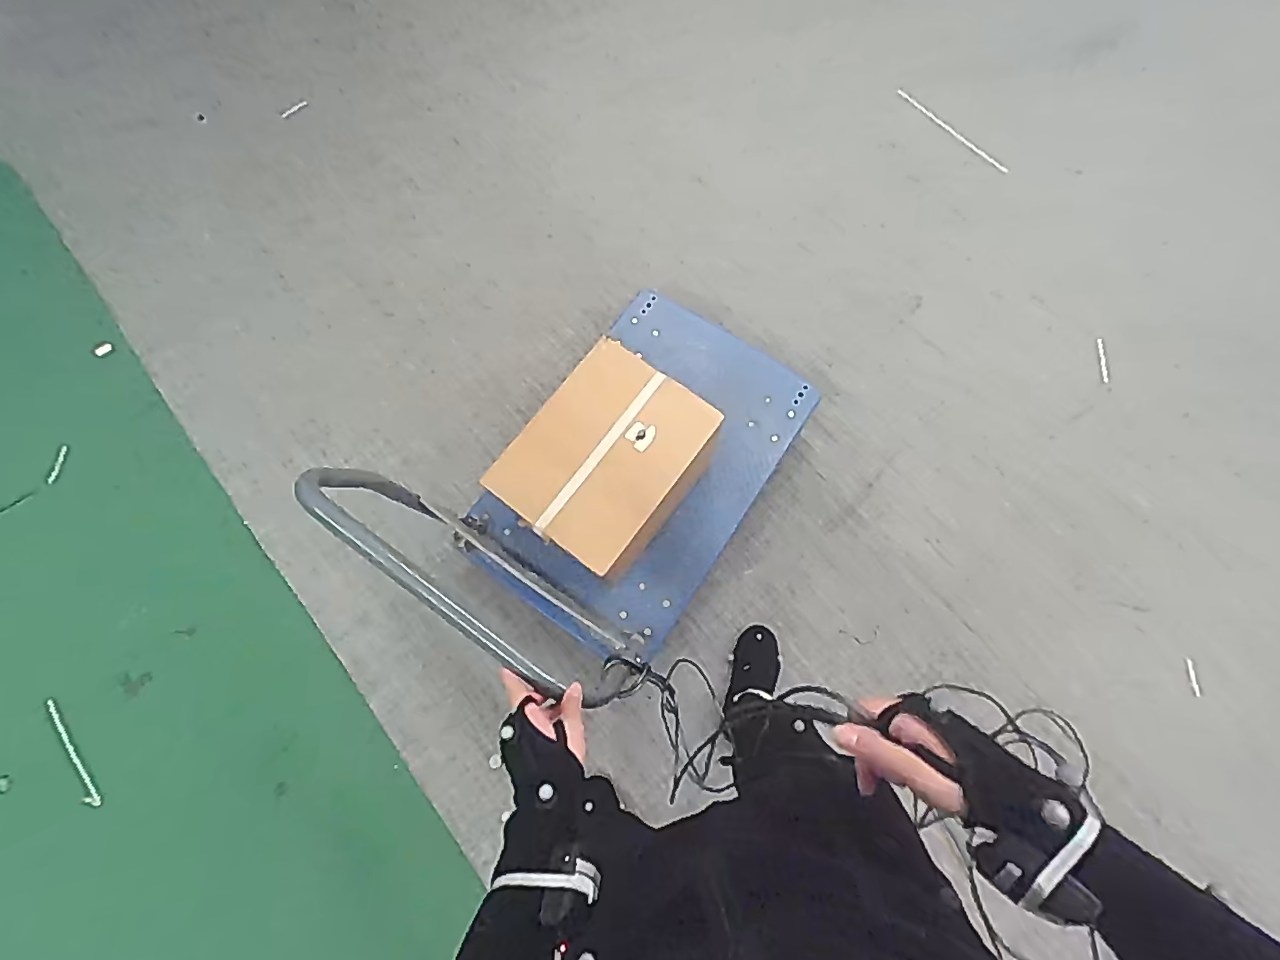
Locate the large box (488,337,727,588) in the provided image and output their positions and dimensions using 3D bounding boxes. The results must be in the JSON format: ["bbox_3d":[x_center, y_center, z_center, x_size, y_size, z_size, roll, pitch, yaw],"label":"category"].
[{"bbox_3d":[-0.059,-0.020,1.202,0.320,0.320,0.408,36,78,10],"label":"large box"}]
